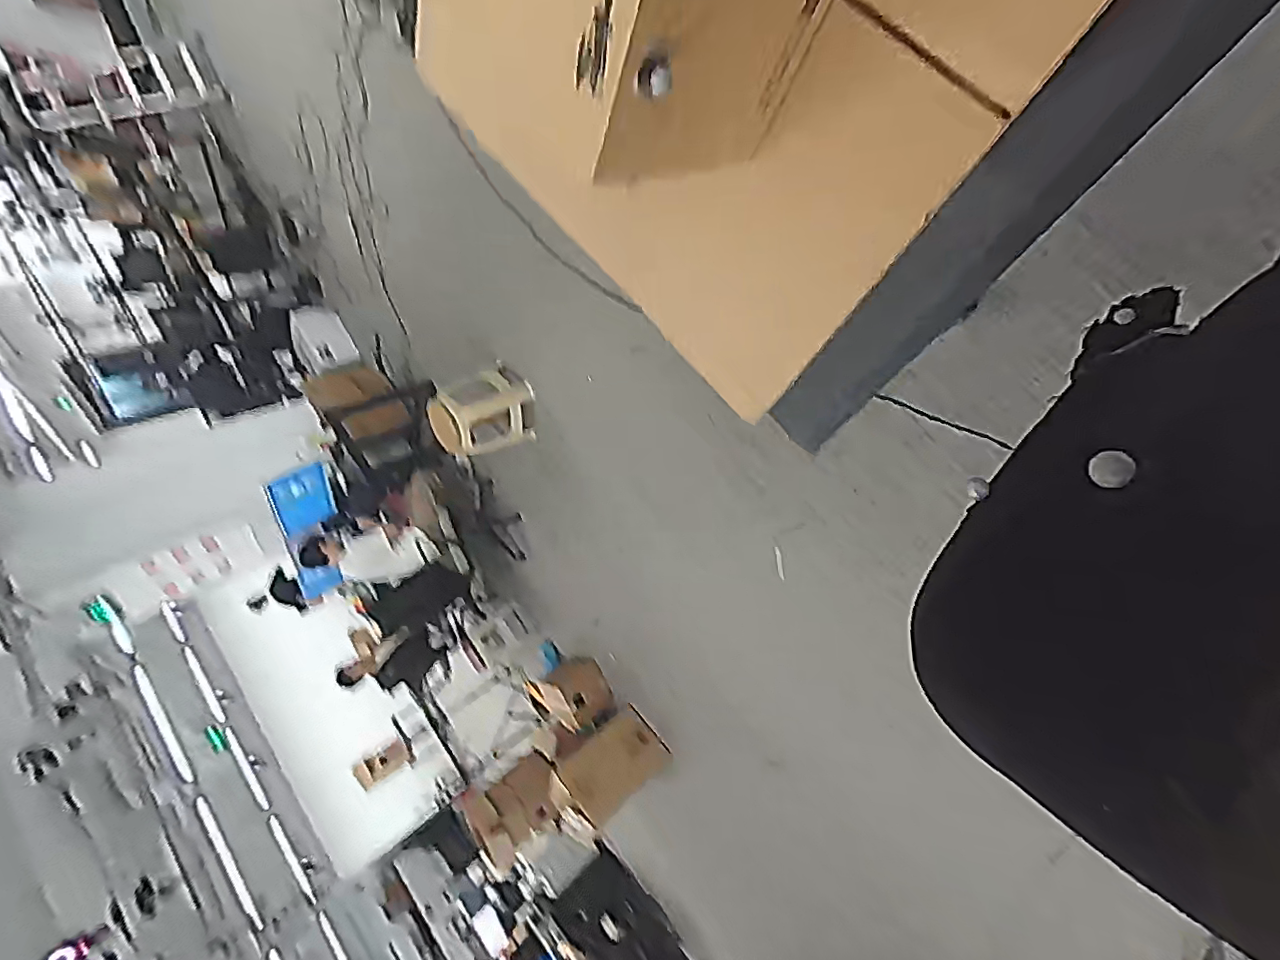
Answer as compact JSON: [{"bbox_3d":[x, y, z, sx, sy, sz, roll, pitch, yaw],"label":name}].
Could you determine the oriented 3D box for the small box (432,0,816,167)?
[{"bbox_3d":[-0.006,-0.328,0.337,0.179,0.176,0.168,50,144,14],"label":"small box"}]
